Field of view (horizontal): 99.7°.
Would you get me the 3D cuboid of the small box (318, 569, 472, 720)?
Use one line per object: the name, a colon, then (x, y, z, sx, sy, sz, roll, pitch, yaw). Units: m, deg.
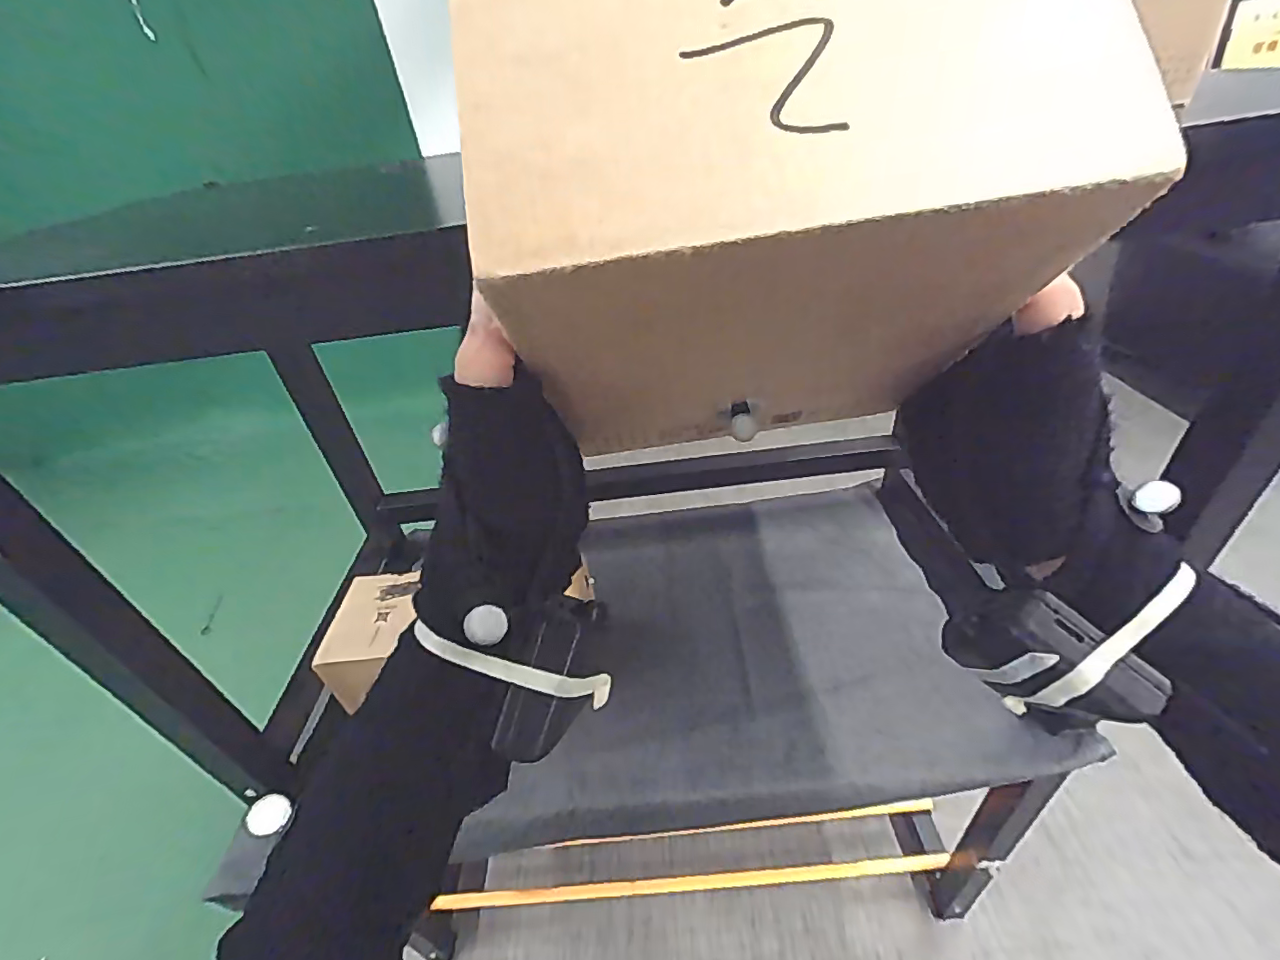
small box: (-0.392, 0.275, 0.909, 0.168, 0.176, 0.179, -6, 36, 2)

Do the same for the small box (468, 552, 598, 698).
small box: (-0.166, 0.247, 0.908, 0.168, 0.176, 0.179, -5, 35, 3)
